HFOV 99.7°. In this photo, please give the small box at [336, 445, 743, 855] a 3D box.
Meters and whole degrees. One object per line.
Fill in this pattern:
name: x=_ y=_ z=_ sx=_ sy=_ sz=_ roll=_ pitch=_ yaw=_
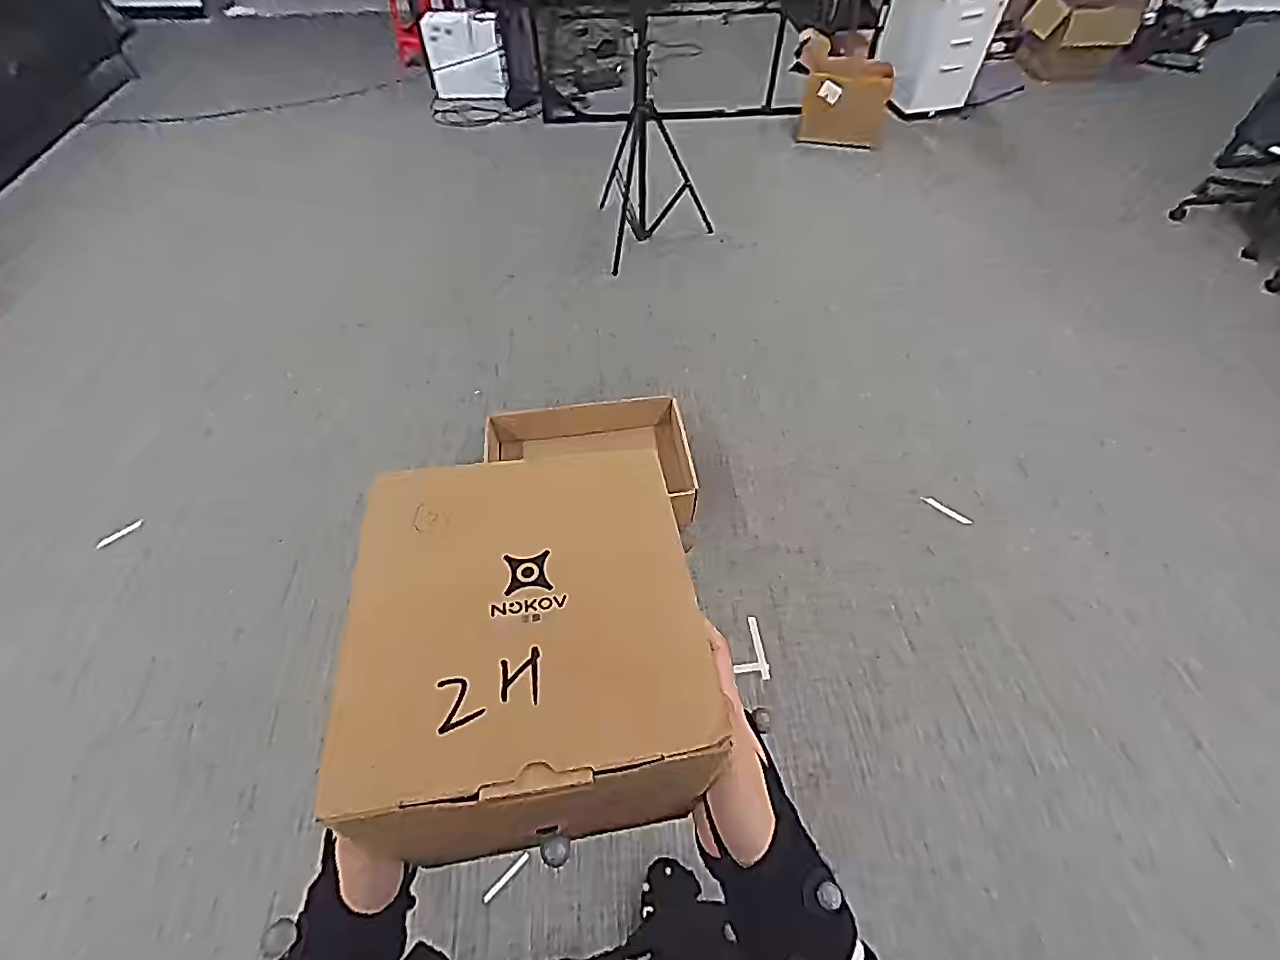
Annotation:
small box: x=-0.055 y=0.102 z=0.330 sx=0.168 sy=0.176 sz=0.179 roll=-6 pitch=51 yaw=-9
